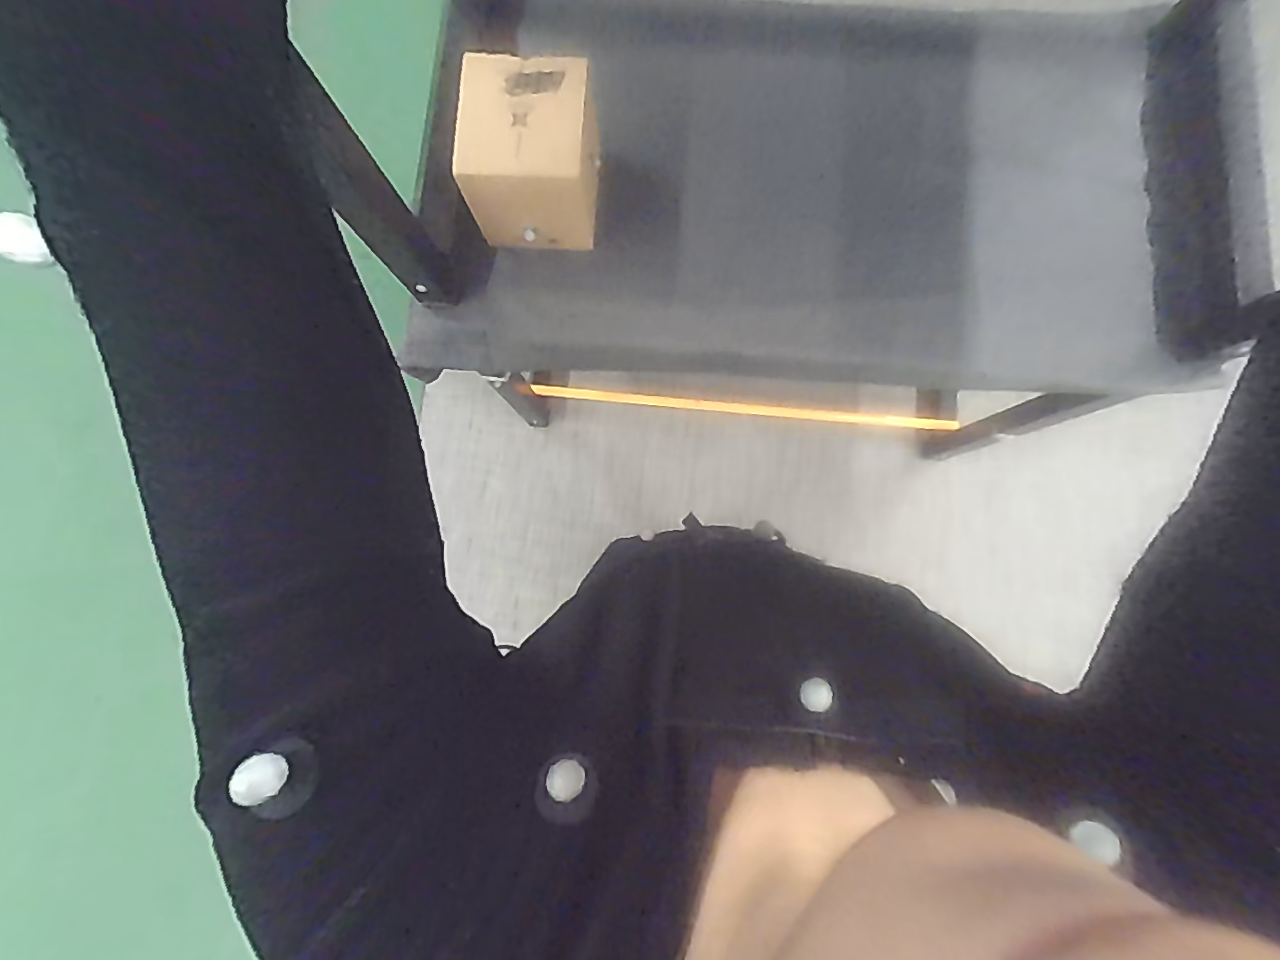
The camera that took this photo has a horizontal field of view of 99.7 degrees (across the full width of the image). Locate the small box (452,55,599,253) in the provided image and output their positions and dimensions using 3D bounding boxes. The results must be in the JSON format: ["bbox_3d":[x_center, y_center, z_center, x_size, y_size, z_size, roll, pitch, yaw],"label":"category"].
[{"bbox_3d":[-0.150,-0.455,0.772,0.168,0.176,0.179,3,82,2],"label":"small box"}]
